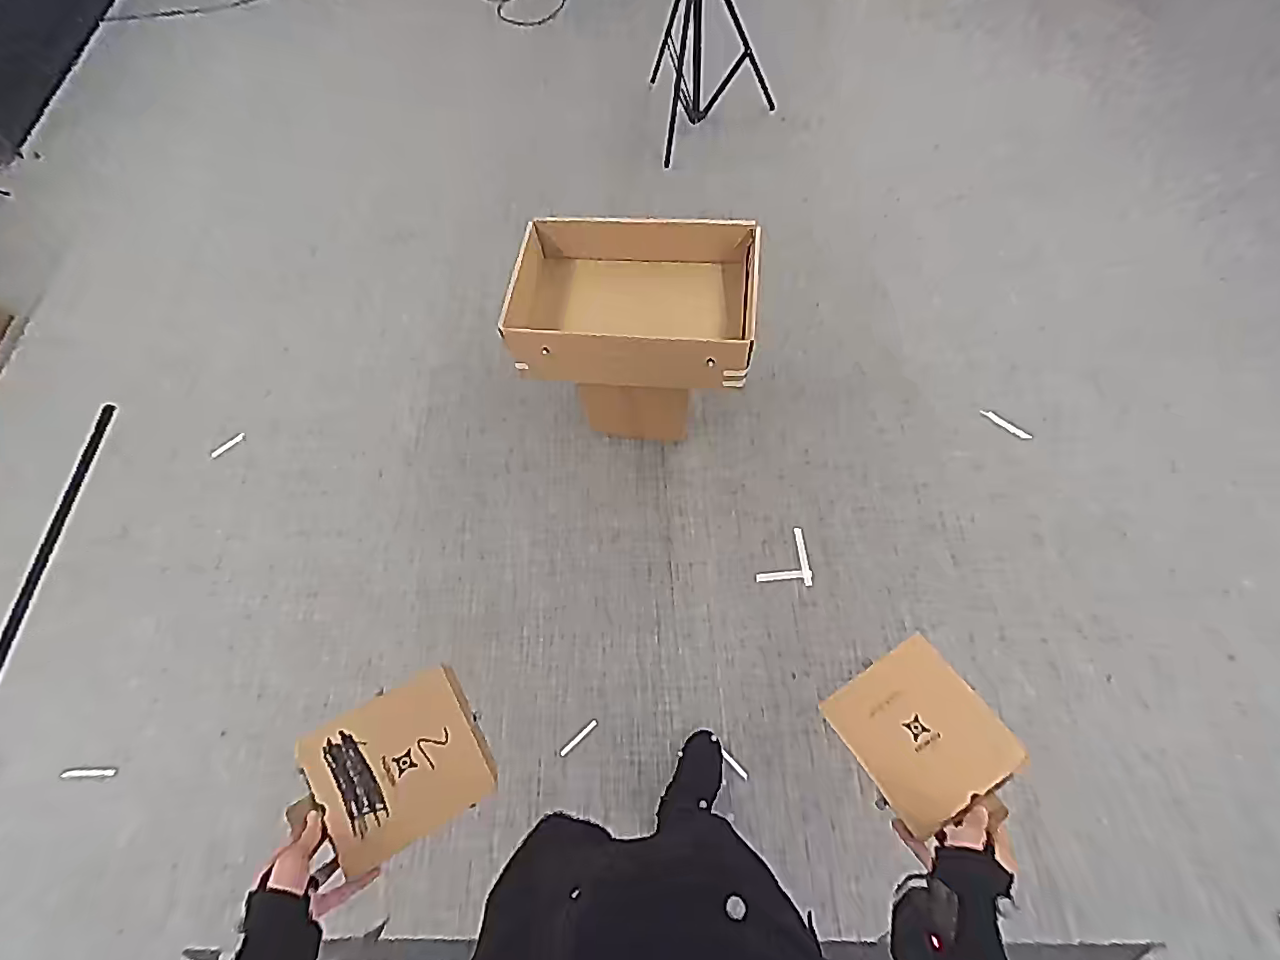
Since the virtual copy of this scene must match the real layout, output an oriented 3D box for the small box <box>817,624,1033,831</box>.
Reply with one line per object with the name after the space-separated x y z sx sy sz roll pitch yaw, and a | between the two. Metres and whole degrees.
0.361 0.320 0.718 0.168 0.176 0.179 -38 59 1 | small box
